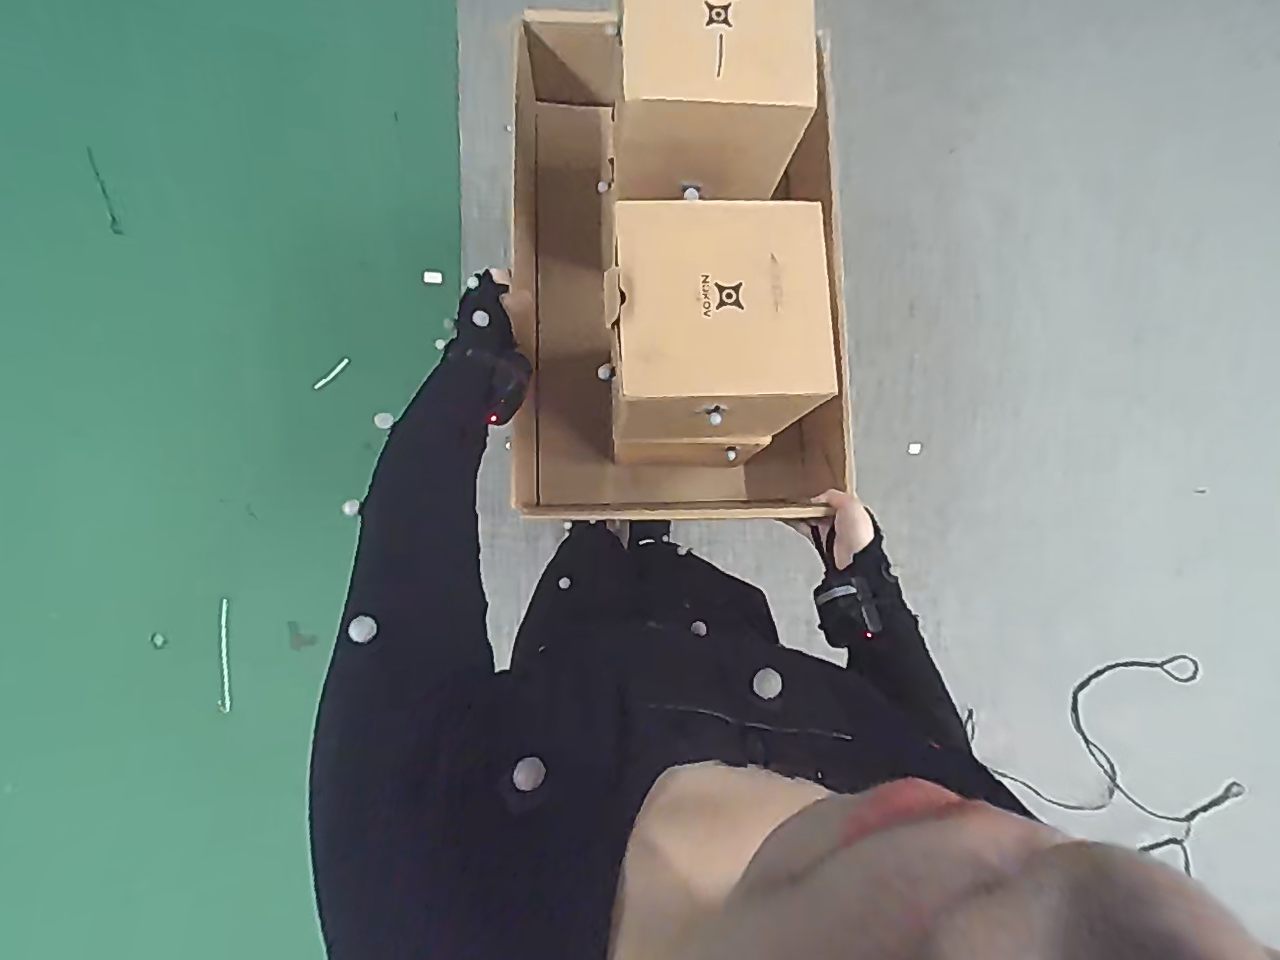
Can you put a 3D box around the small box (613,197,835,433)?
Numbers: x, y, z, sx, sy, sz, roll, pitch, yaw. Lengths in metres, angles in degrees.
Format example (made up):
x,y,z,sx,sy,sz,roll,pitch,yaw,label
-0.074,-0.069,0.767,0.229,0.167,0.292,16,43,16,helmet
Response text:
x,y,z,sx,sy,sz,roll,pitch,yaw,label
0.063,-0.140,0.515,0.179,0.176,0.168,-1,83,-5,small box

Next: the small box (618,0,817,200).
x,y,z,sx,sy,sz,roll,pitch,yaw,label
0.064,-0.393,0.538,0.168,0.176,0.179,0,86,-4,small box
